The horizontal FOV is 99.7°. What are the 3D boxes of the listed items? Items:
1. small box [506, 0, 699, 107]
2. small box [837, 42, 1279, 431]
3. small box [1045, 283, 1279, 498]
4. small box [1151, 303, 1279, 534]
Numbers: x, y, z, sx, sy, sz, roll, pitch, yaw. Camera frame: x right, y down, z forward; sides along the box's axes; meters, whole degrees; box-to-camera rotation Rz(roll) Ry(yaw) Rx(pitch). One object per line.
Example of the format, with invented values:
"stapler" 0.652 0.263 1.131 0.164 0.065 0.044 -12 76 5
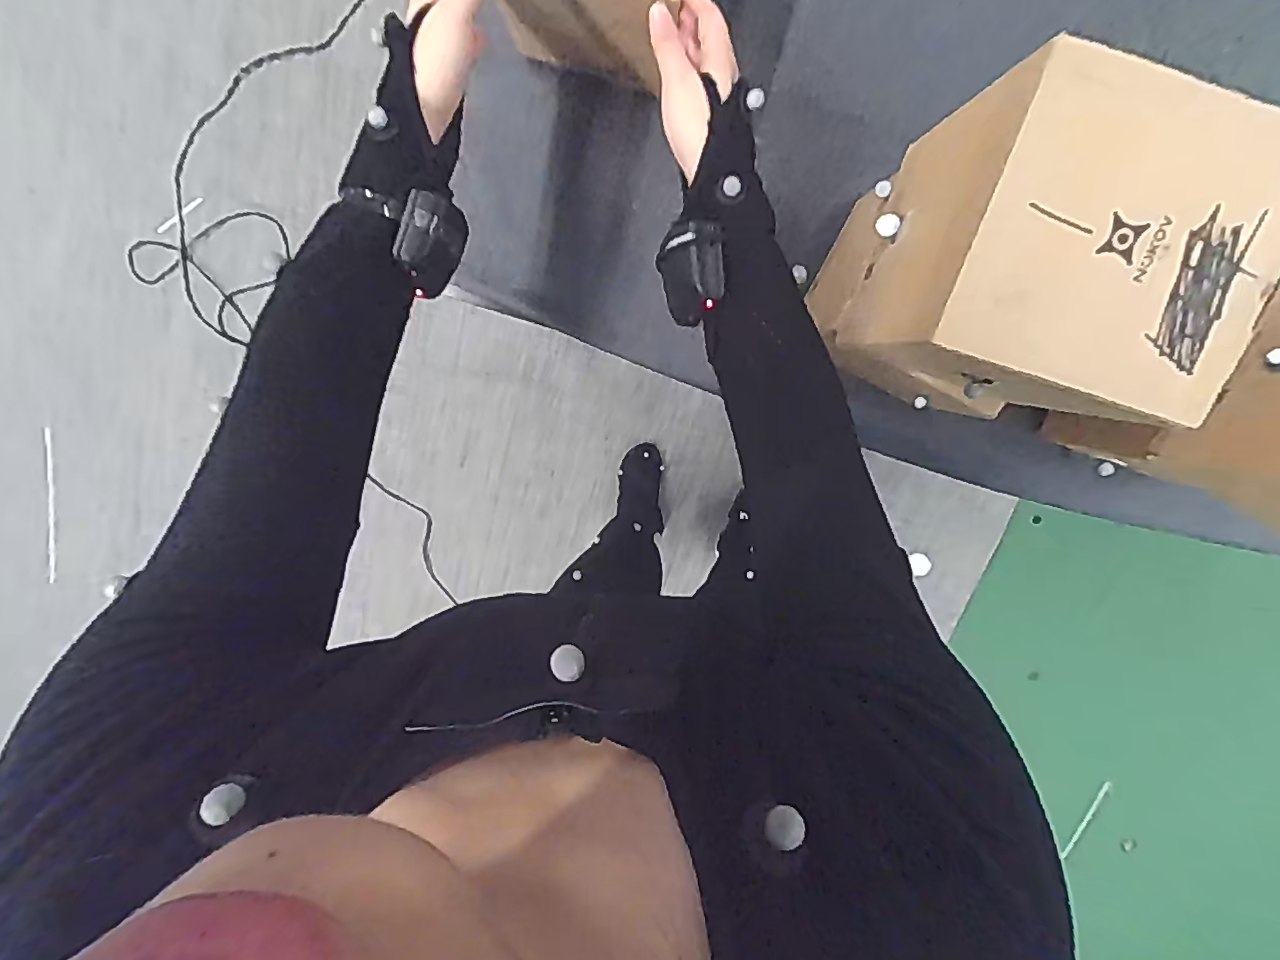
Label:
"small box" -0.024 -0.477 0.473 0.168 0.176 0.179 15 103 -4
"small box" 0.272 -0.148 0.381 0.179 0.176 0.168 17 103 -2
"small box" 0.578 -0.083 0.560 0.168 0.176 0.179 17 103 -1
"small box" 0.569 -0.033 0.405 0.179 0.176 0.168 28 102 -4
